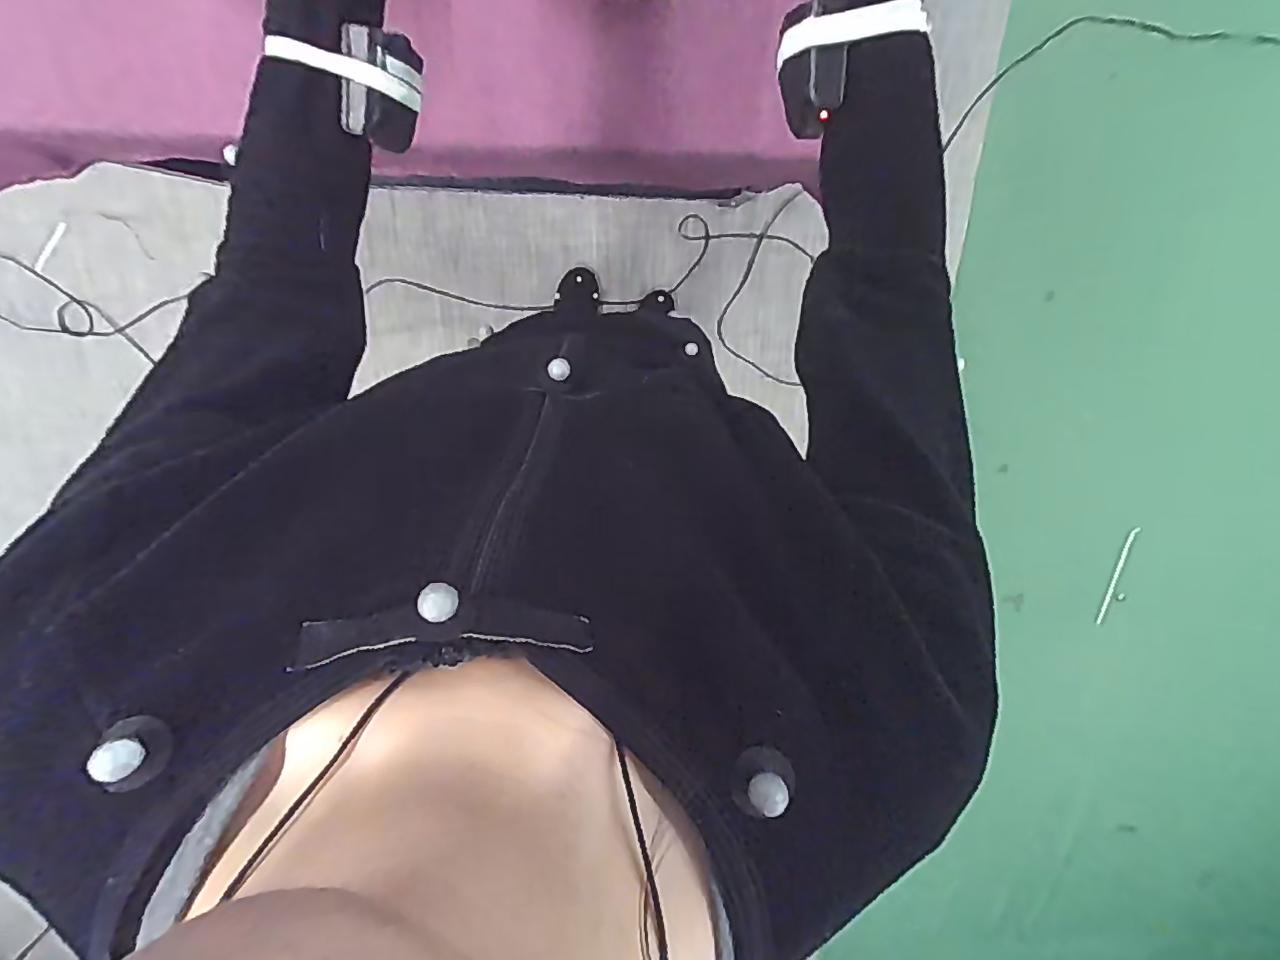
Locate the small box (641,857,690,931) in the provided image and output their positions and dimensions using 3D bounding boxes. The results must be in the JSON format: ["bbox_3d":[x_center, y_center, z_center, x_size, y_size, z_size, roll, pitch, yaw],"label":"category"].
[{"bbox_3d":[0.097,1.622,2.124,0.179,0.176,0.168,-1,111,-4],"label":"small box"}]
